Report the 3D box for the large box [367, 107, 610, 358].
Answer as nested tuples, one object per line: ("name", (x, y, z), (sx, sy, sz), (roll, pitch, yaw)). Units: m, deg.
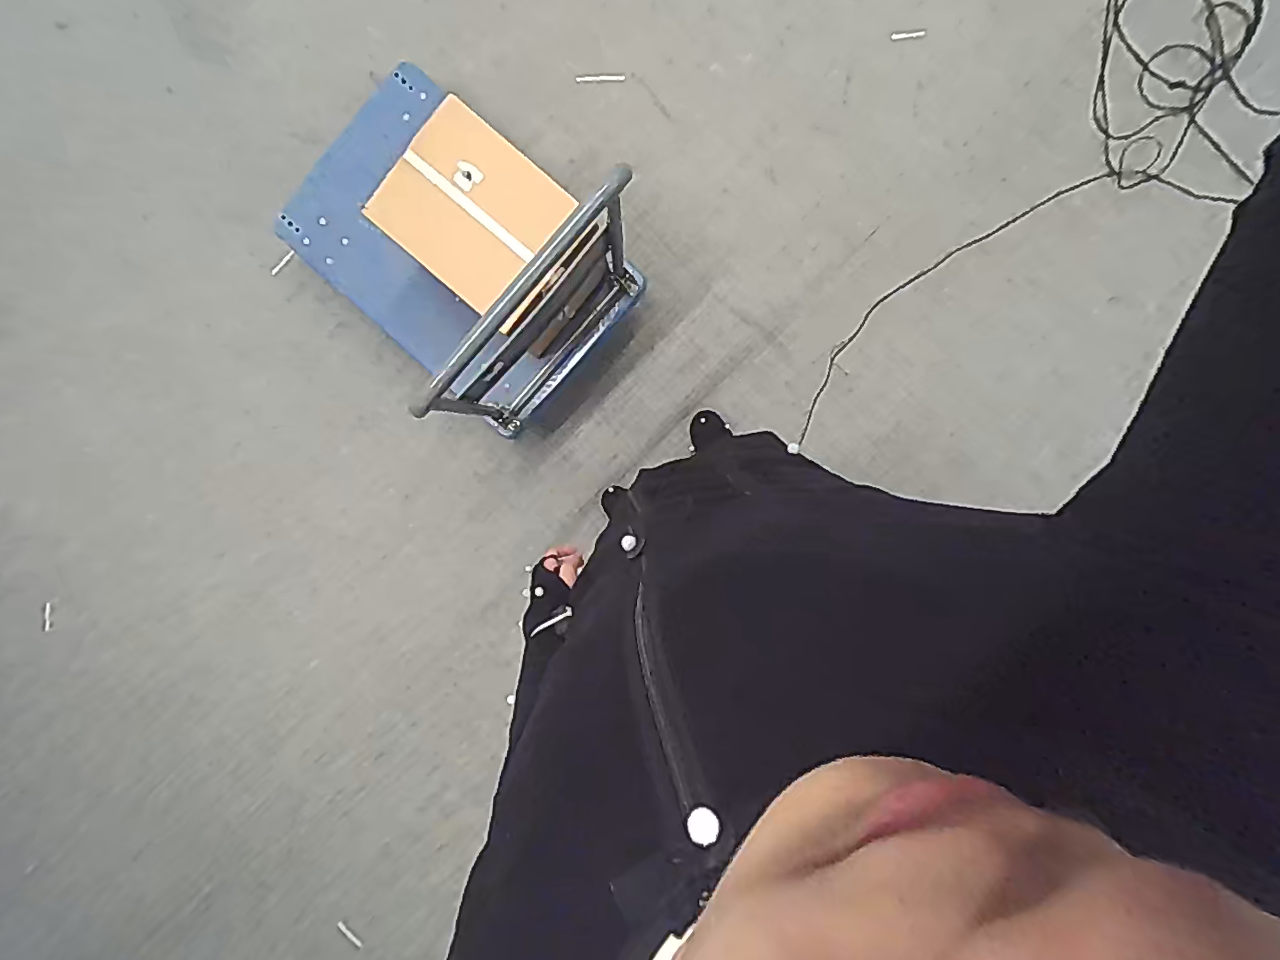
("large box", (-0.330, -0.553, 1.291), (0.408, 0.320, 0.320), (40, 93, 0))
